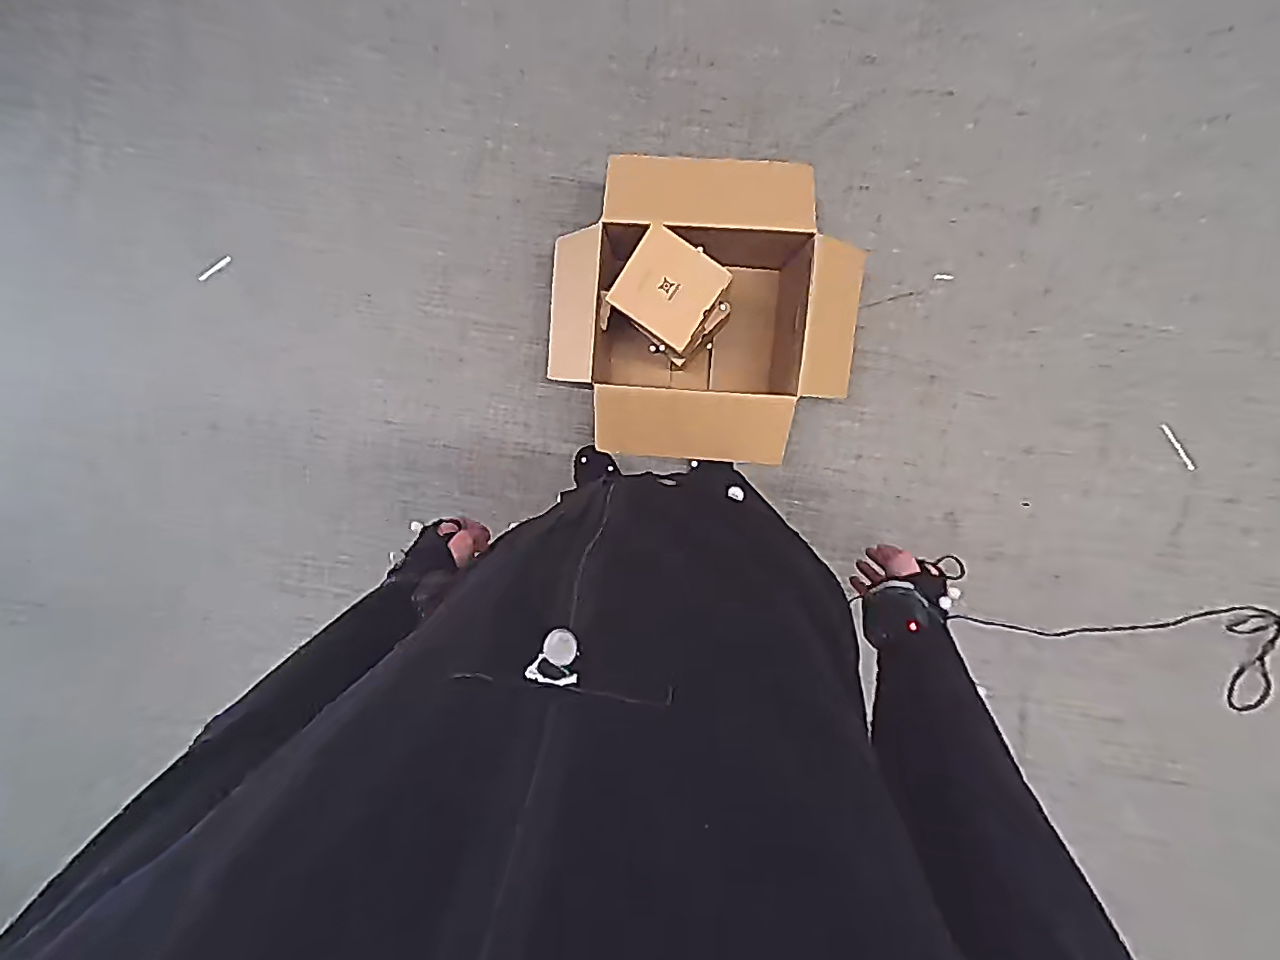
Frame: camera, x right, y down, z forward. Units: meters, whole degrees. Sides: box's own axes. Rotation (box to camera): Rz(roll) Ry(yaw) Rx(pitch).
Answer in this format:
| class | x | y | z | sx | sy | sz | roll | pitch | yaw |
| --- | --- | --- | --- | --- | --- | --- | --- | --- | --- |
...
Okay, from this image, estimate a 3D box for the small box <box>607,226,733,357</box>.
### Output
| class | x | y | z | sx | sy | sz | roll | pitch | yaw |
| --- | --- | --- | --- | --- | --- | --- | --- | --- | --- |
| small box | 0.064 | -0.356 | 1.061 | 0.179 | 0.176 | 0.168 | 36 | 101 | 2 |
